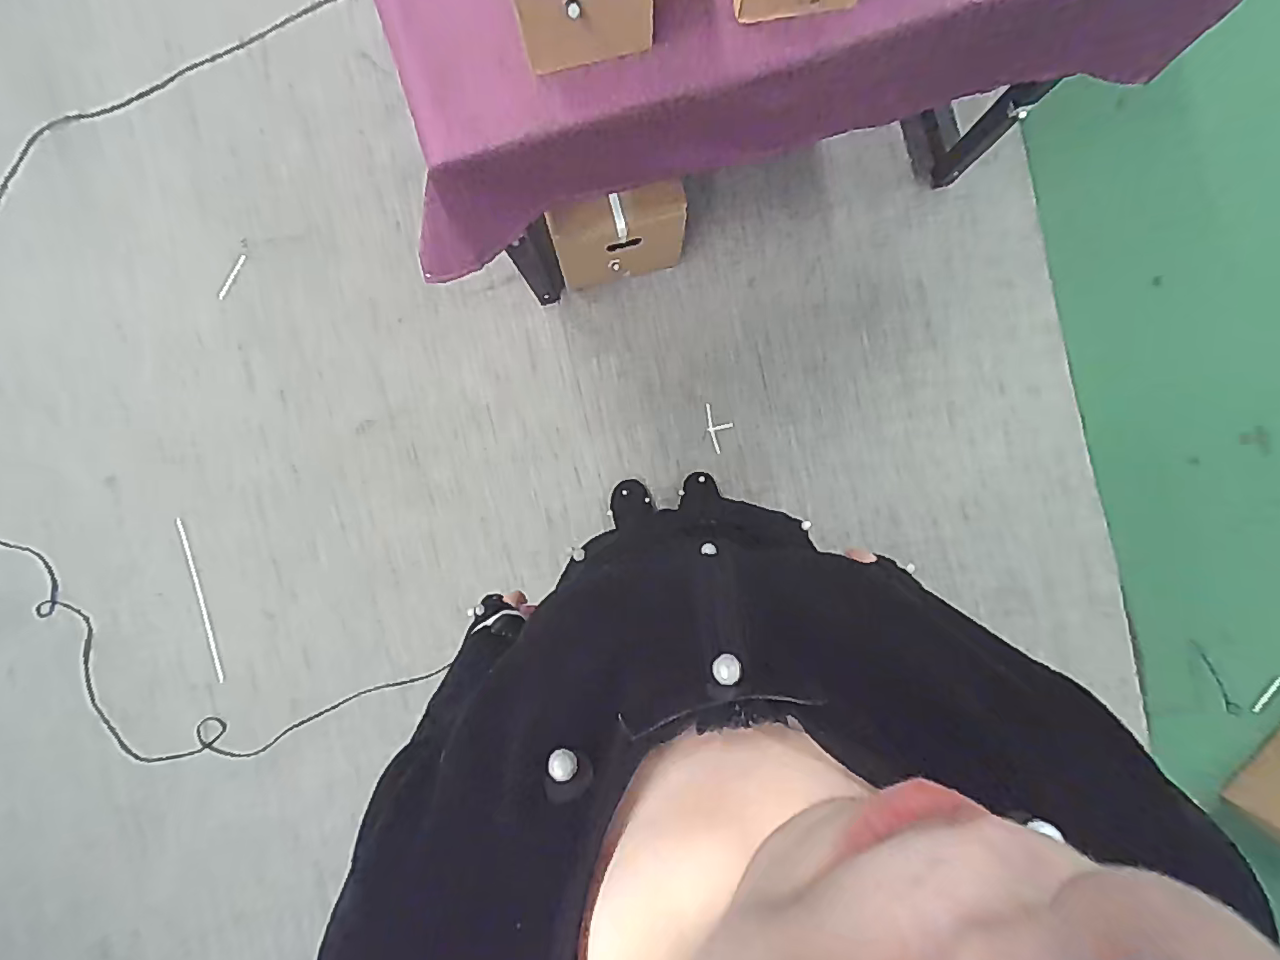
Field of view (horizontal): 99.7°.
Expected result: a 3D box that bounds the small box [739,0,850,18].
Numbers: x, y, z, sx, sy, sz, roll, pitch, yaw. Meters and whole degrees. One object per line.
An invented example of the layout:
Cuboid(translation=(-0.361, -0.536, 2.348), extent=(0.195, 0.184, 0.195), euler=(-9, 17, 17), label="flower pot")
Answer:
Cuboid(translation=(0.208, -0.740, 0.675), extent=(0.168, 0.176, 0.179), euler=(-8, 92, 1), label="small box")

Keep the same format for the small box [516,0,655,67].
Cuboid(translation=(-0.081, -0.670, 0.680), extent=(0.179, 0.176, 0.168), euler=(-12, 92, 2), label="small box")
